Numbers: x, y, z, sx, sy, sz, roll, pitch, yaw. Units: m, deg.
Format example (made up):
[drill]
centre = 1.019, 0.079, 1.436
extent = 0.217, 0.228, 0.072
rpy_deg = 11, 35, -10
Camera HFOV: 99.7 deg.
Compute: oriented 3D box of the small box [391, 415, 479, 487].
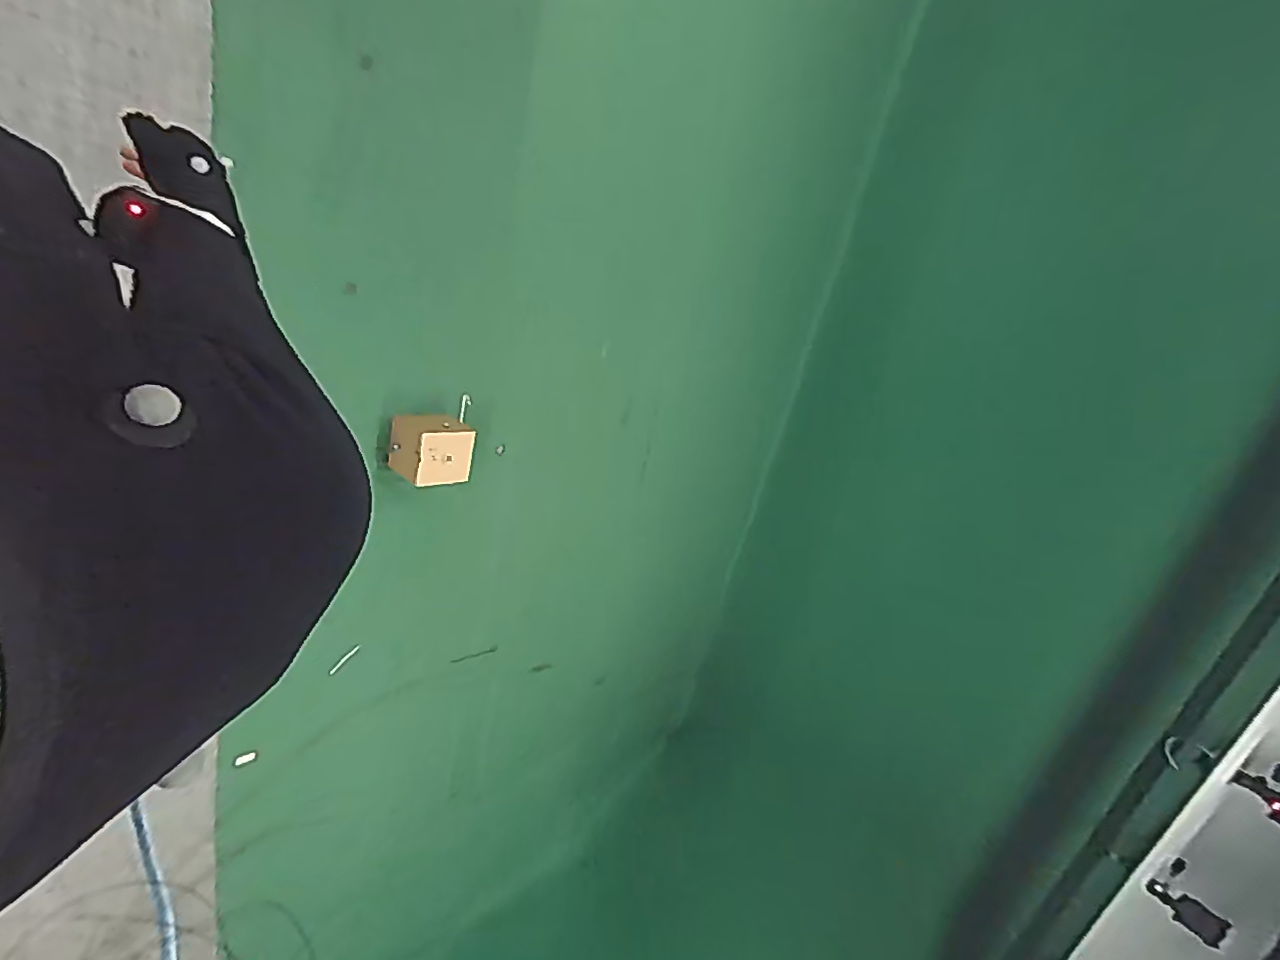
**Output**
[small box]
centre = -0.619, -0.093, 1.628
extent = 0.179, 0.176, 0.168
rpy_deg = -8, 119, -50
